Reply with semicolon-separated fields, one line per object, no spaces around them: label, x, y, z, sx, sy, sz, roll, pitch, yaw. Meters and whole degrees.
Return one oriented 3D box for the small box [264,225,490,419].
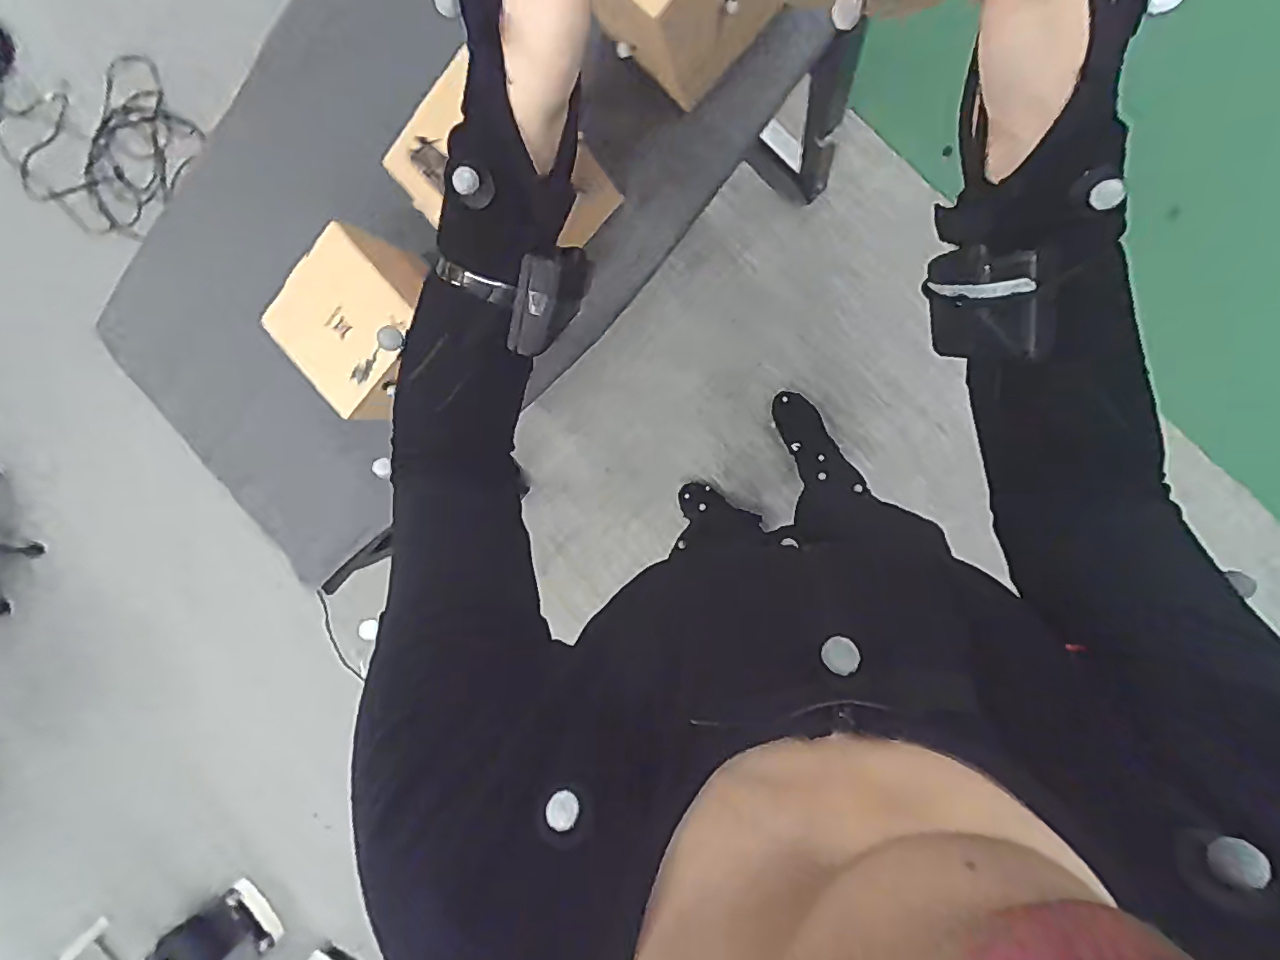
small box;-0.343;-0.196;0.731;0.168;0.176;0.179;-42;85;17

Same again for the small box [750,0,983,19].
small box;0.083;-0.317;0.228;0.179;0.176;0.168;14;127;4

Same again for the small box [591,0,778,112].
small box;0.042;-0.556;0.577;0.179;0.176;0.168;-43;83;17
